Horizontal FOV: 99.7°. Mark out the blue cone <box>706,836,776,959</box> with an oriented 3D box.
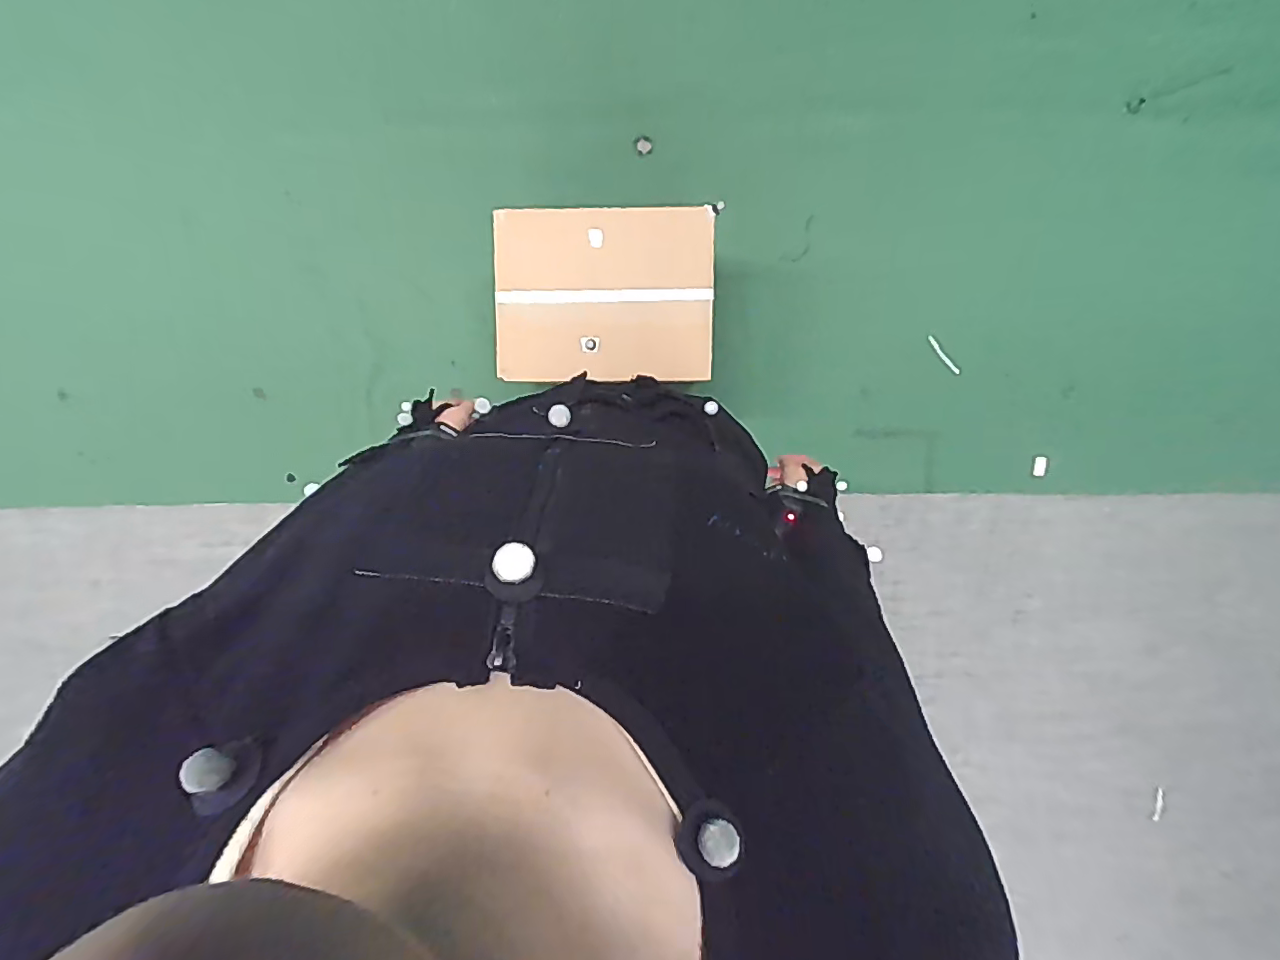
[{"bbox_3d":[0.277,1.100,1.336,0.192,0.380,0.193,0,99,1],"label":"blue cone"}]
